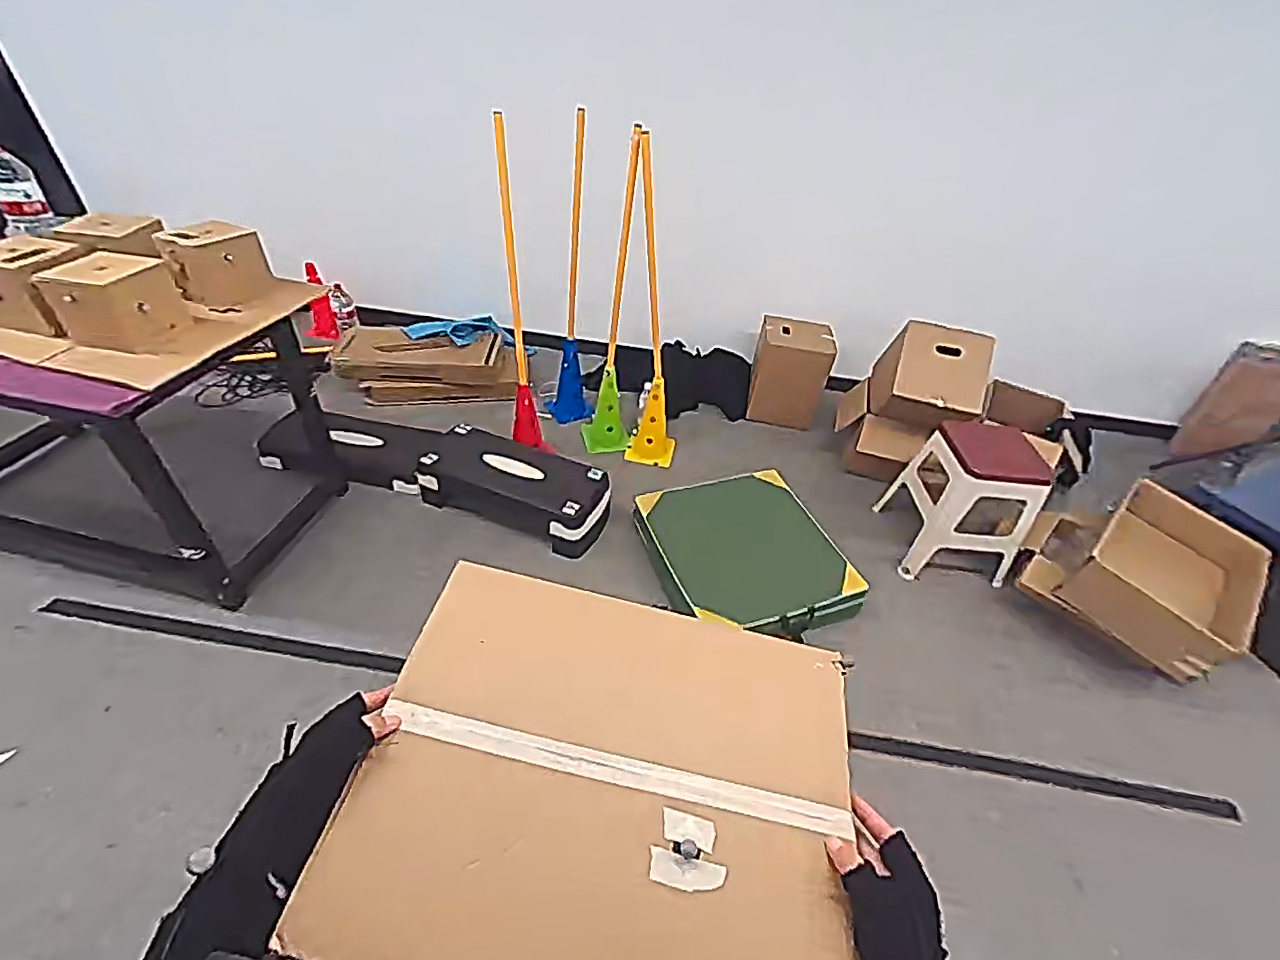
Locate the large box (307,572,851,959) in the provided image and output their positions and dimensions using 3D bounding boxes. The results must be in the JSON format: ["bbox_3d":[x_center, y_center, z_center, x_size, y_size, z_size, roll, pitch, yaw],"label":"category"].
[{"bbox_3d":[-0.041,0.347,0.584,0.408,0.320,0.320,14,48,0],"label":"large box"}]
